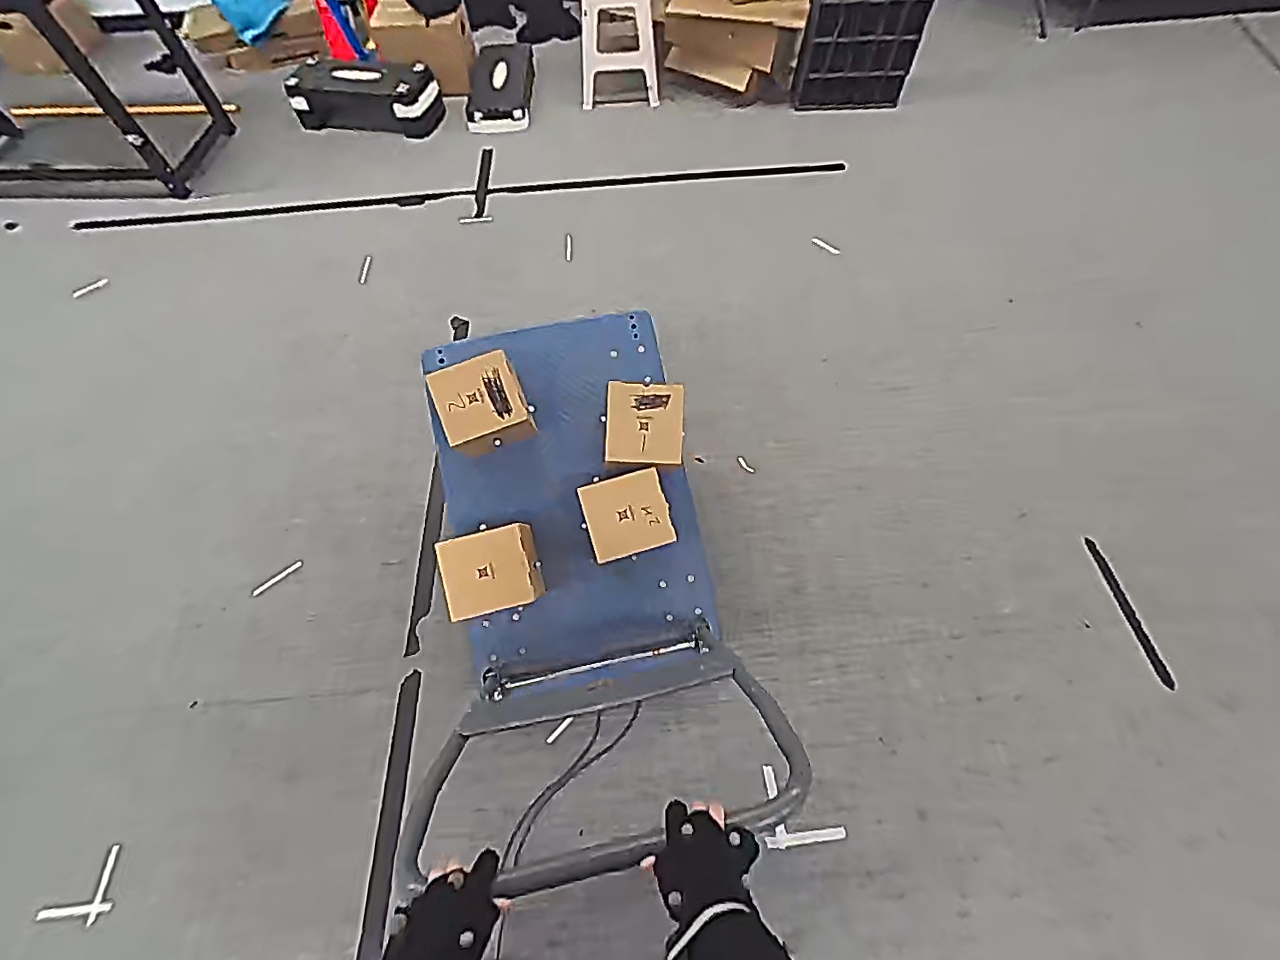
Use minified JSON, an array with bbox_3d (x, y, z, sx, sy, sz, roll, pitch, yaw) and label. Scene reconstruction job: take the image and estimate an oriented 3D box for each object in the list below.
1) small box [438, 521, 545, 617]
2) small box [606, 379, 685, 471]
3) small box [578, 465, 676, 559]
[{"bbox_3d":[-0.319,0.193,1.189,0.179,0.176,0.168,-14,84,-6],"label":"small box"},{"bbox_3d":[0.008,-0.120,1.240,0.168,0.176,0.179,2,84,-2],"label":"small box"},{"bbox_3d":[-0.029,0.076,1.216,0.179,0.176,0.168,-16,85,-4],"label":"small box"}]
